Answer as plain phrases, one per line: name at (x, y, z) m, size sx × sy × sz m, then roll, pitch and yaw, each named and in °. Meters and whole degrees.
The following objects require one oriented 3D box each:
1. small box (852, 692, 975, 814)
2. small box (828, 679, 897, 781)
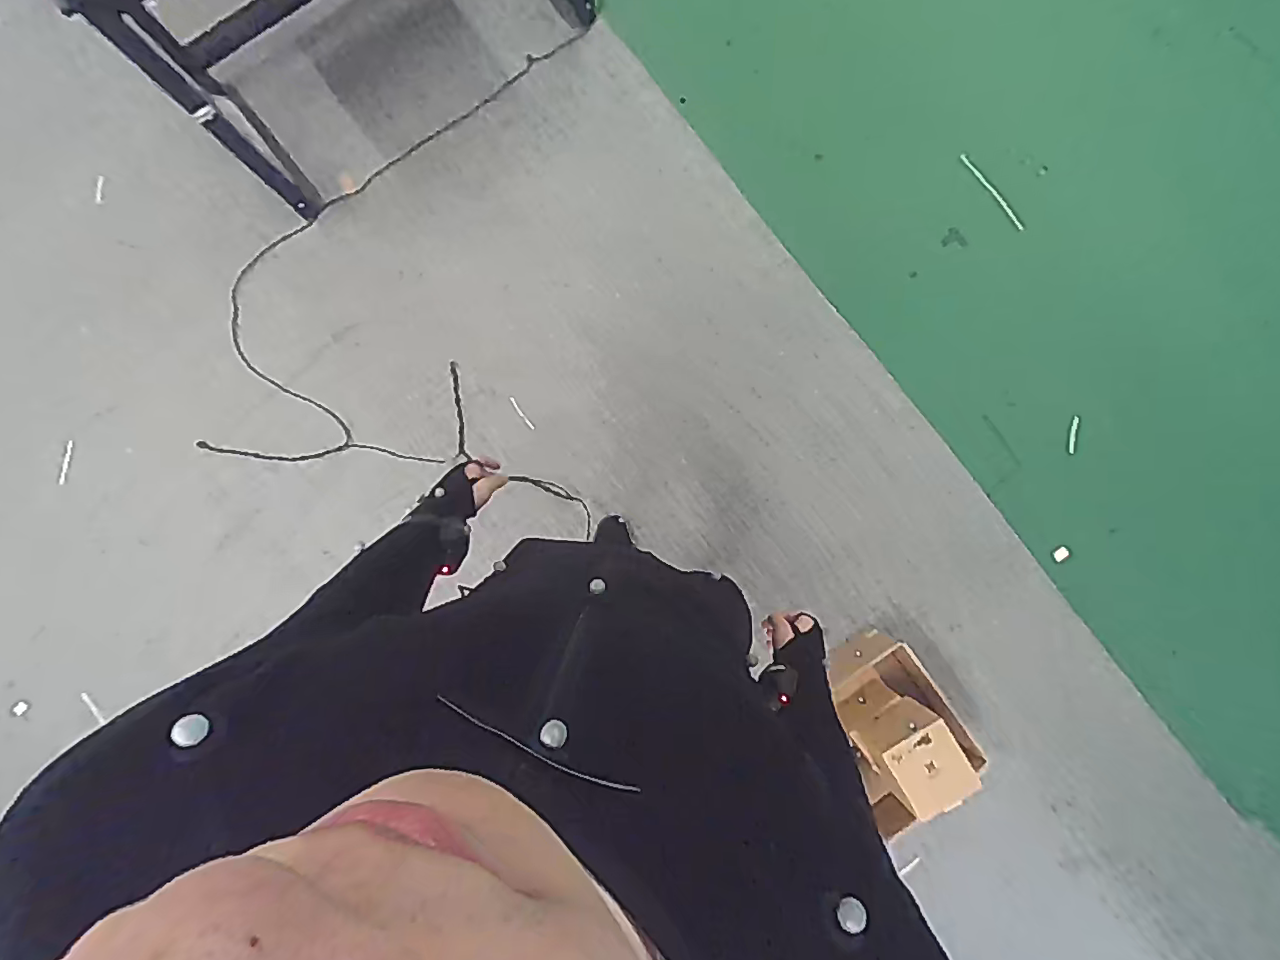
small box at (0.656, 0.653, 1.316) m, size 0.168 × 0.176 × 0.179 m, roll -29°, pitch 87°, yaw -3°
small box at (0.650, 0.670, 1.481) m, size 0.168 × 0.176 × 0.179 m, roll -36°, pitch 86°, yaw -2°
